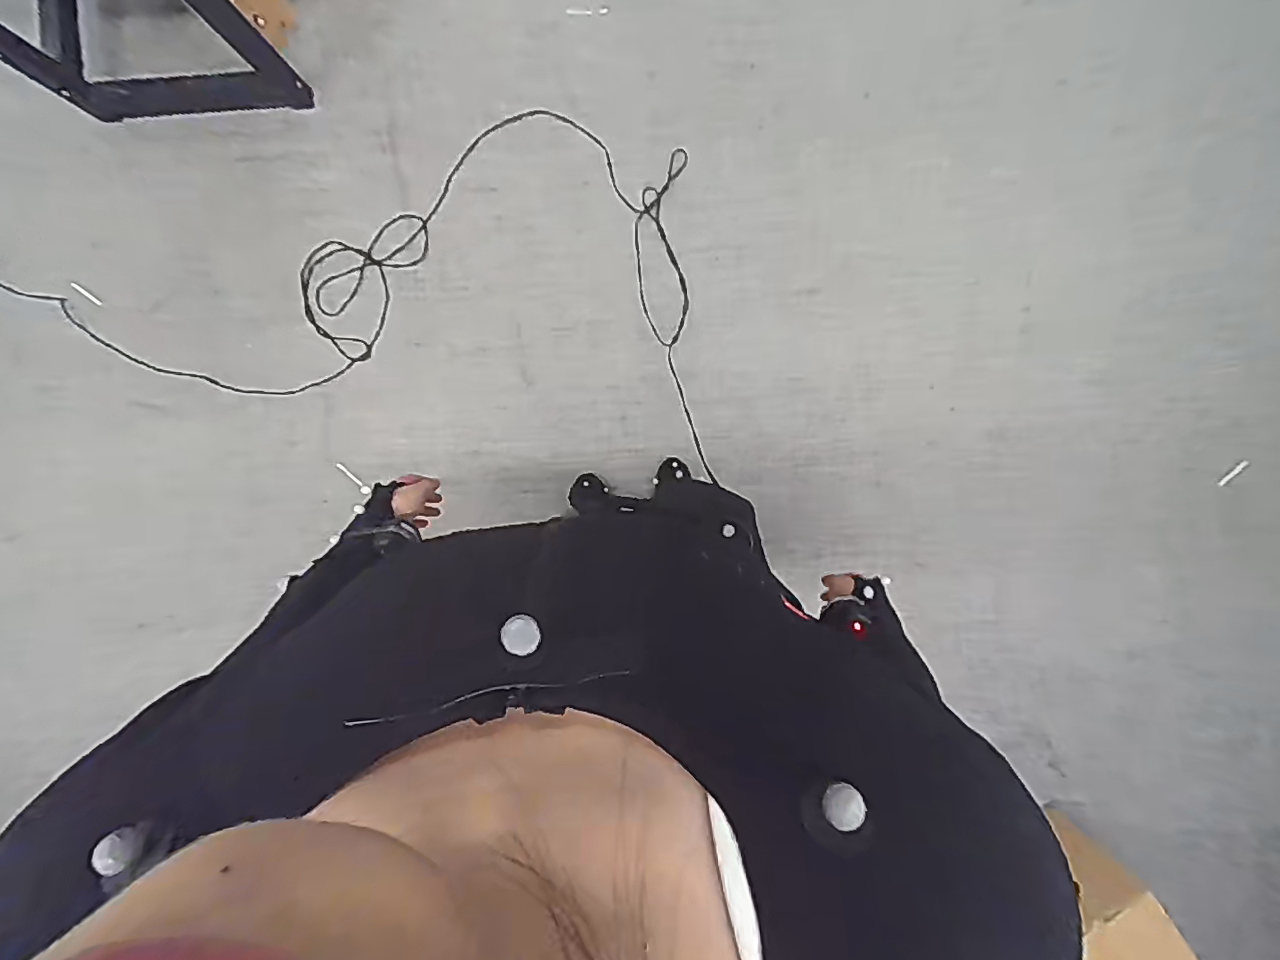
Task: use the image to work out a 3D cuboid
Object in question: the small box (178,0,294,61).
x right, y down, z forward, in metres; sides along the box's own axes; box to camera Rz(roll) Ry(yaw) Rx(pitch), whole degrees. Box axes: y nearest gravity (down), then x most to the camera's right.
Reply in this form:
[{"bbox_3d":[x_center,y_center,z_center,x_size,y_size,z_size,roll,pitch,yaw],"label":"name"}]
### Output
[{"bbox_3d":[-1.015,-1.201,1.345,0.179,0.176,0.168,30,93,-1],"label":"small box"}]
